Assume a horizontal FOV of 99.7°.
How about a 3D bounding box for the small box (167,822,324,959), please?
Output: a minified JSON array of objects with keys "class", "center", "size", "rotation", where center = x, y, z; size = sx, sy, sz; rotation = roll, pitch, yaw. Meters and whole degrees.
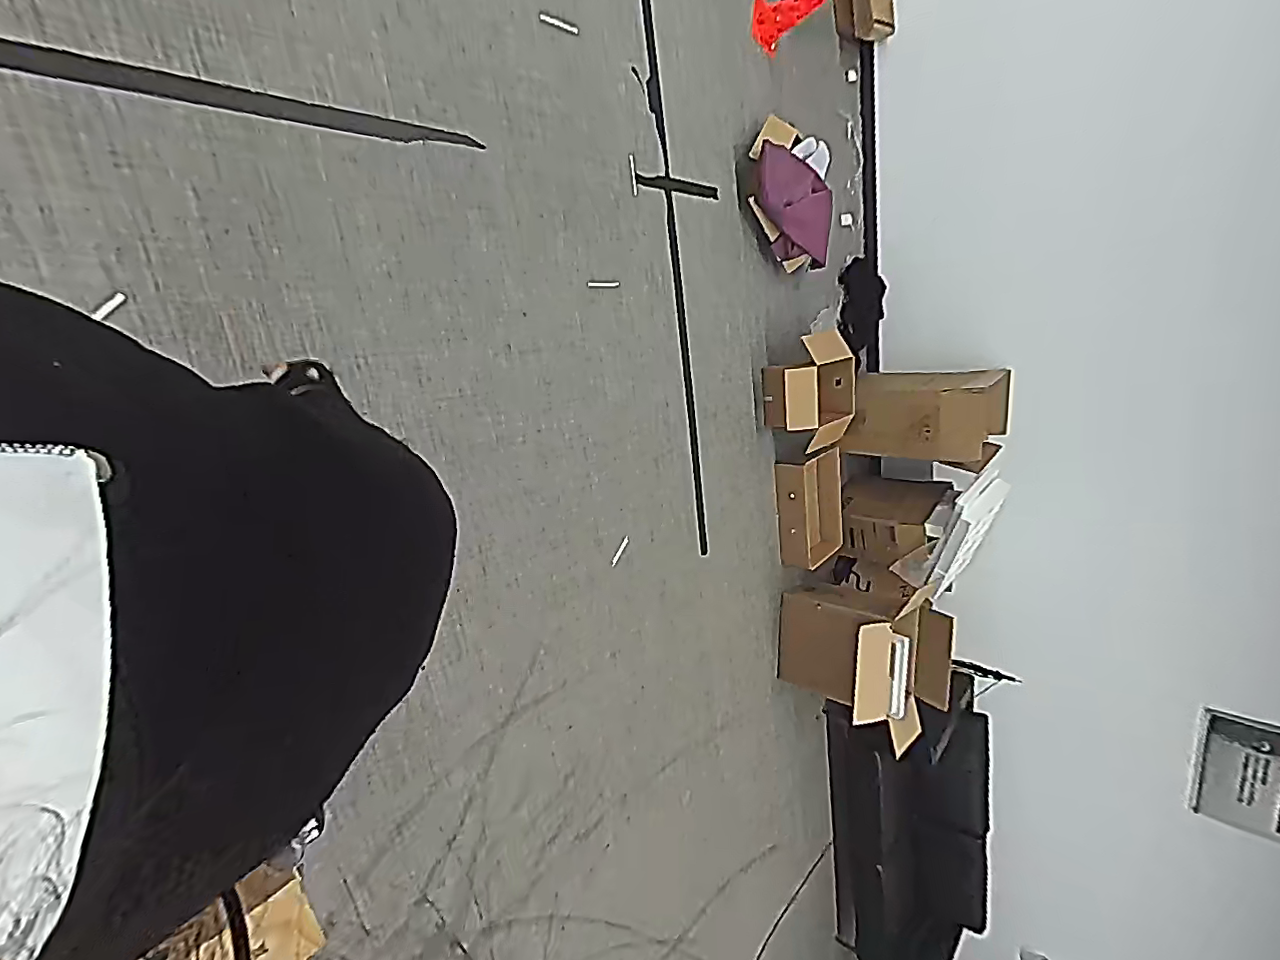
[{"class":"small box","center":[-0.702,0.766,0.960],"size":[0.179,0.176,0.168],"rotation":[-26,114,-41]}]
